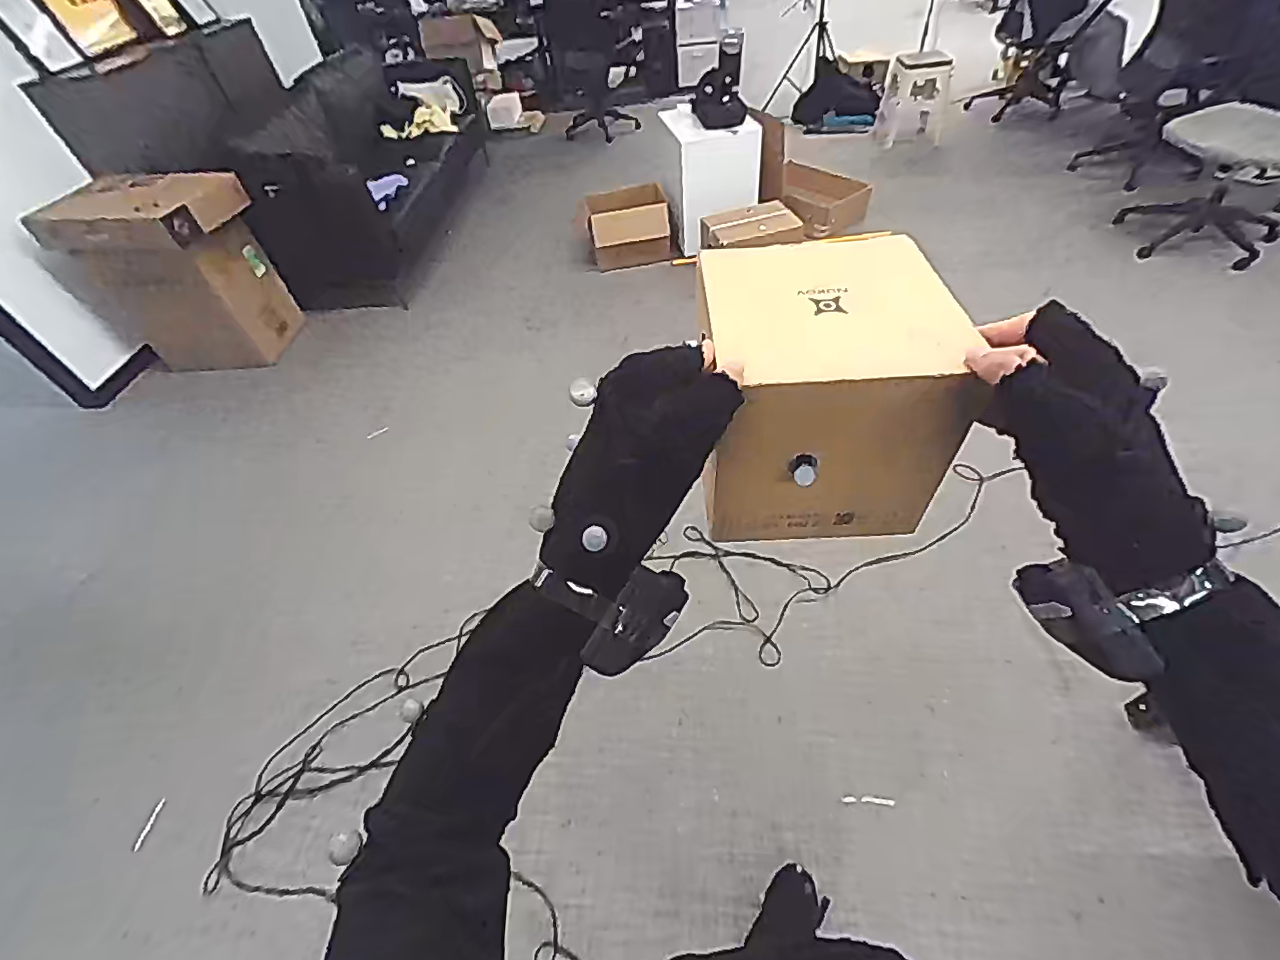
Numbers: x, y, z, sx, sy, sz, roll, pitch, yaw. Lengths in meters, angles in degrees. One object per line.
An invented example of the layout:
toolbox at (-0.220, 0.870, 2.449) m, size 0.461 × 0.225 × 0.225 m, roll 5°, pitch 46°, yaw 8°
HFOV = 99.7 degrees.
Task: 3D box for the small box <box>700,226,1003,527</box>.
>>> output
small box at (0.135, -0.074, 0.427) m, size 0.168 × 0.176 × 0.179 m, roll -3°, pitch 48°, yaw 3°
